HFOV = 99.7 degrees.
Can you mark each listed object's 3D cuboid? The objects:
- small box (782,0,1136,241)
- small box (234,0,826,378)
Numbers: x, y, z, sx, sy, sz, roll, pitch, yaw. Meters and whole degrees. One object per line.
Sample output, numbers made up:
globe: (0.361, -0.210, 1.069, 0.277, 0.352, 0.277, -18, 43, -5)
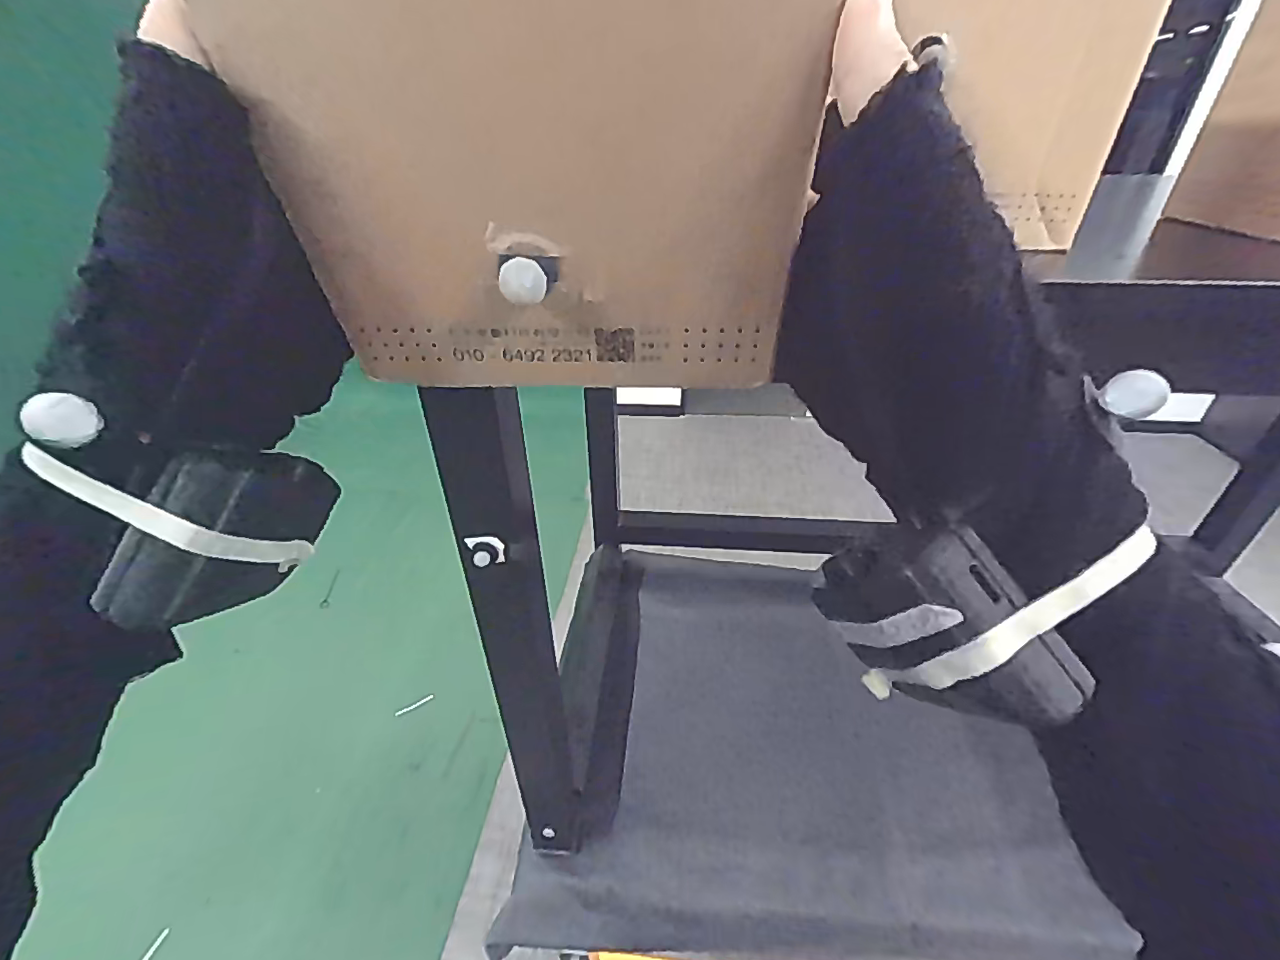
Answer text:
small box: (0.182, -0.259, 0.356, 0.168, 0.176, 0.179, 5, 33, 8)
small box: (-0.030, -0.162, 0.217, 0.168, 0.176, 0.179, 1, 48, 3)
